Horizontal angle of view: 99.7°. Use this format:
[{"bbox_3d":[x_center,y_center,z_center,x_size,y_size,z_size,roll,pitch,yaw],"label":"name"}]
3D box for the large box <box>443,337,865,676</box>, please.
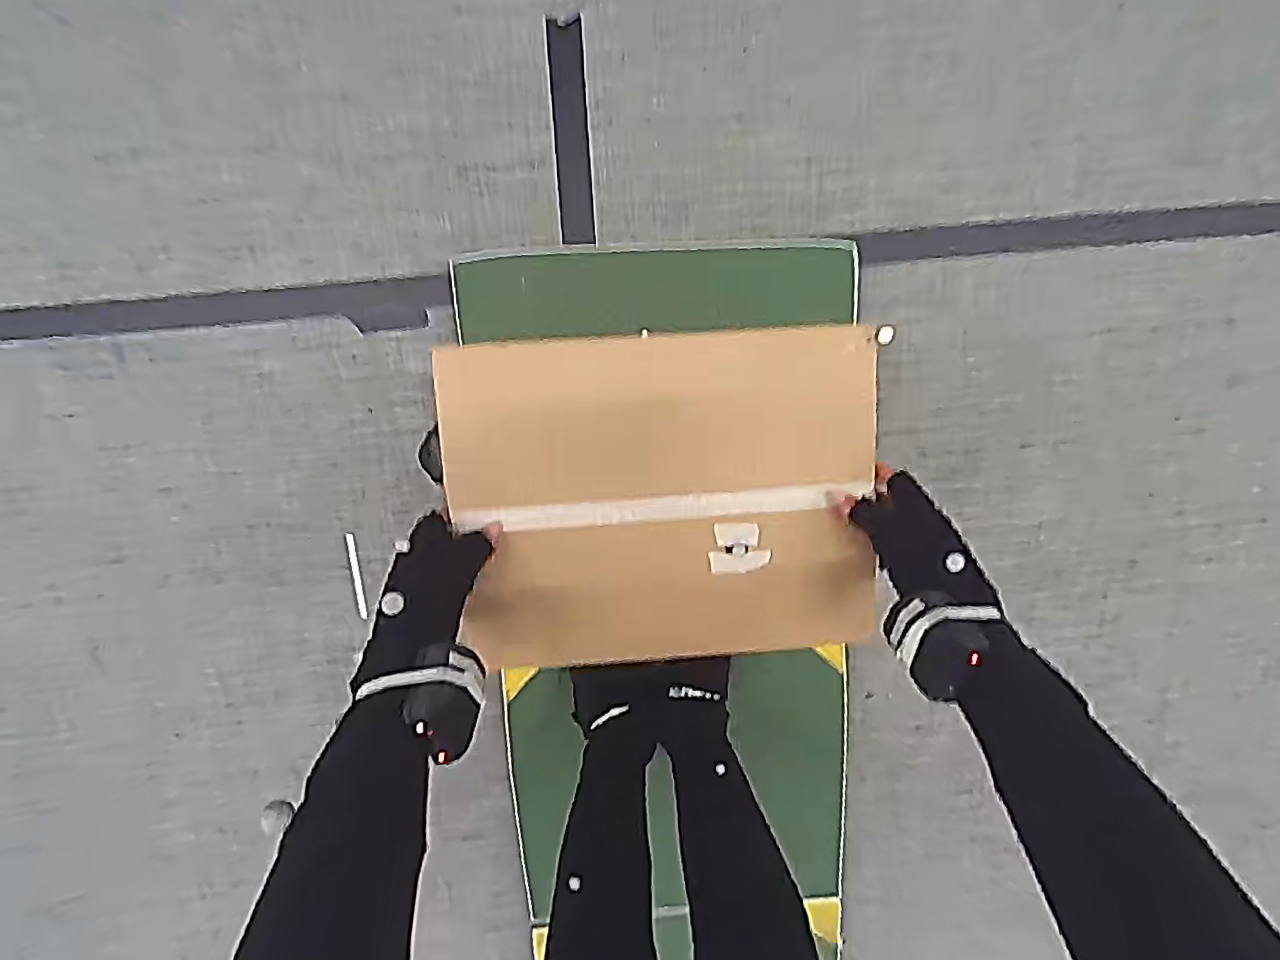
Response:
[{"bbox_3d":[0.015,0.010,0.676,0.408,0.320,0.320,-4,99,-3],"label":"large box"}]
